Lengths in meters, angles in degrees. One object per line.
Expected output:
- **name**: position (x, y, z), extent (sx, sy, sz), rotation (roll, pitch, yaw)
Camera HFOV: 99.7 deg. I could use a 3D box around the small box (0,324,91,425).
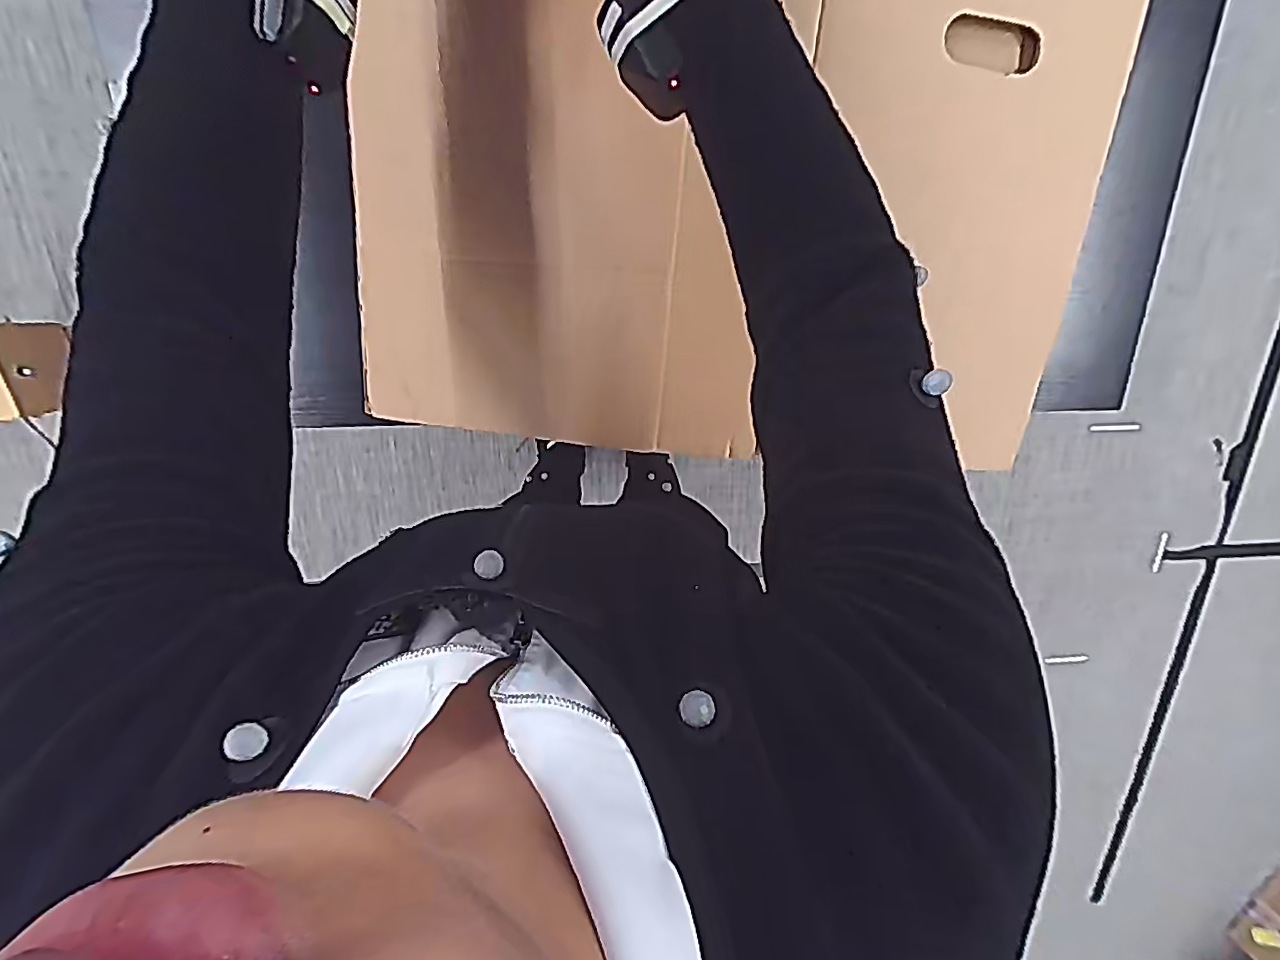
- **small box**: position (-1.247, -0.203, 1.052), extent (0.168, 0.176, 0.179), rotation (-9, 107, -3)
